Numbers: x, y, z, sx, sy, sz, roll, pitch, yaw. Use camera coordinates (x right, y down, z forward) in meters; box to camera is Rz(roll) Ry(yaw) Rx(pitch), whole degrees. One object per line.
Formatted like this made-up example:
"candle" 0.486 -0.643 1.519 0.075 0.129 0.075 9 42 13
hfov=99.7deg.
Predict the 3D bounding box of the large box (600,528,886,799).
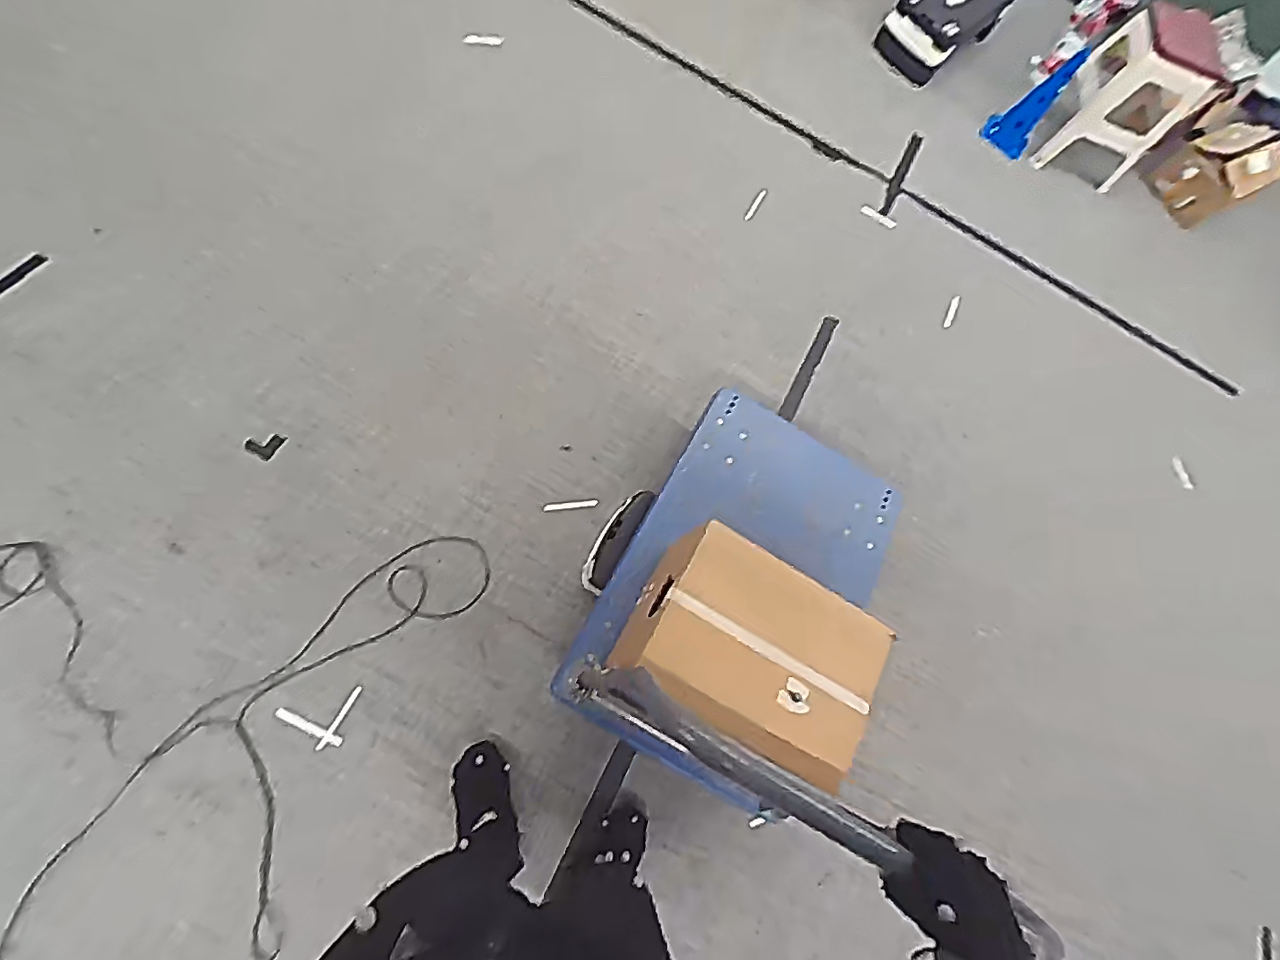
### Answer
"large box" 0.184 0.349 1.075 0.408 0.320 0.320 32 70 -3
